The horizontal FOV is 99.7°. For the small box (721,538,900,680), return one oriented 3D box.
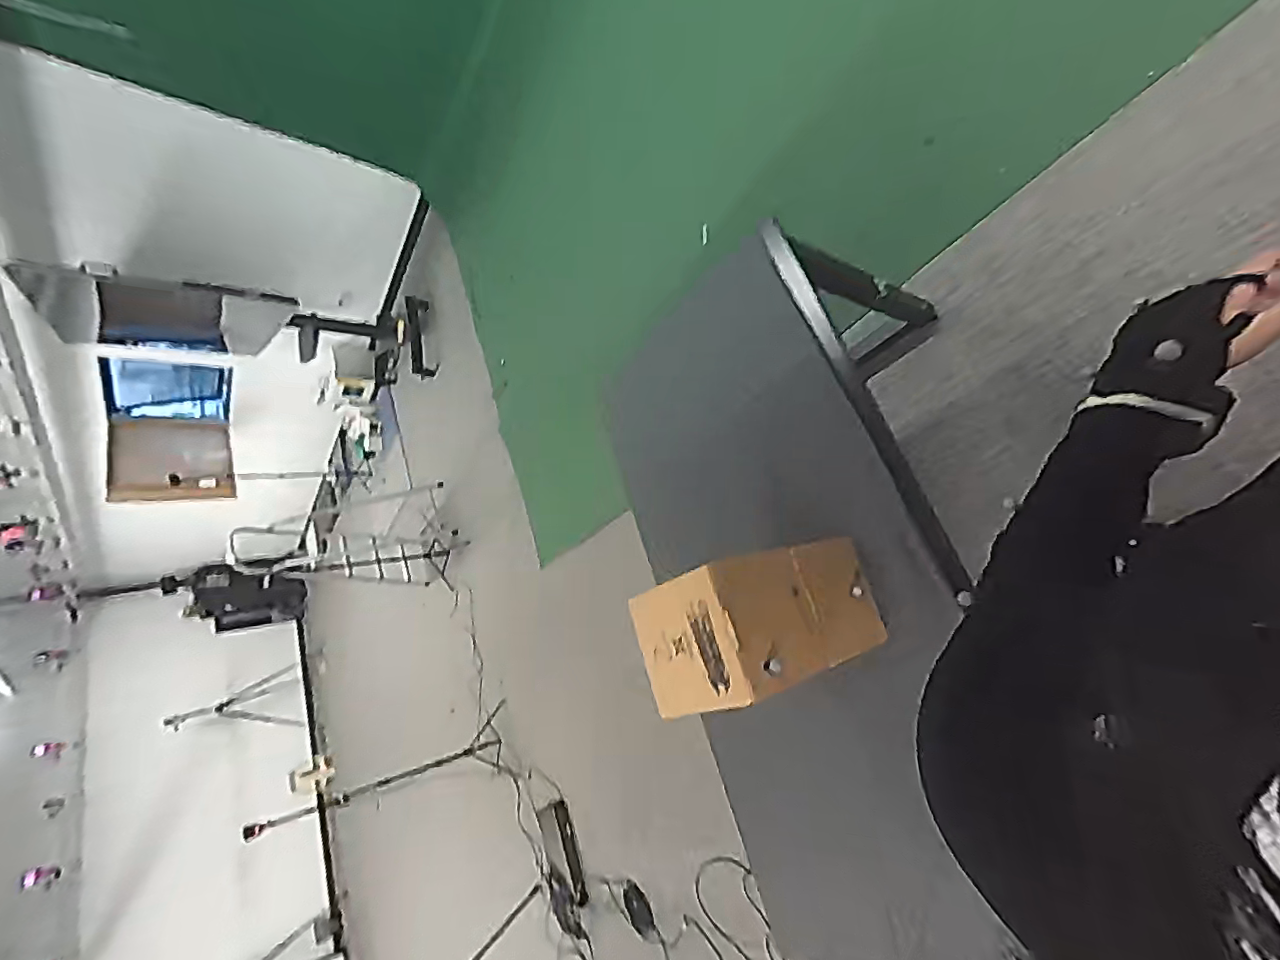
[{"bbox_3d":[0.262,0.198,0.840,0.179,0.176,0.168,-34,67,46],"label":"small box"}]
